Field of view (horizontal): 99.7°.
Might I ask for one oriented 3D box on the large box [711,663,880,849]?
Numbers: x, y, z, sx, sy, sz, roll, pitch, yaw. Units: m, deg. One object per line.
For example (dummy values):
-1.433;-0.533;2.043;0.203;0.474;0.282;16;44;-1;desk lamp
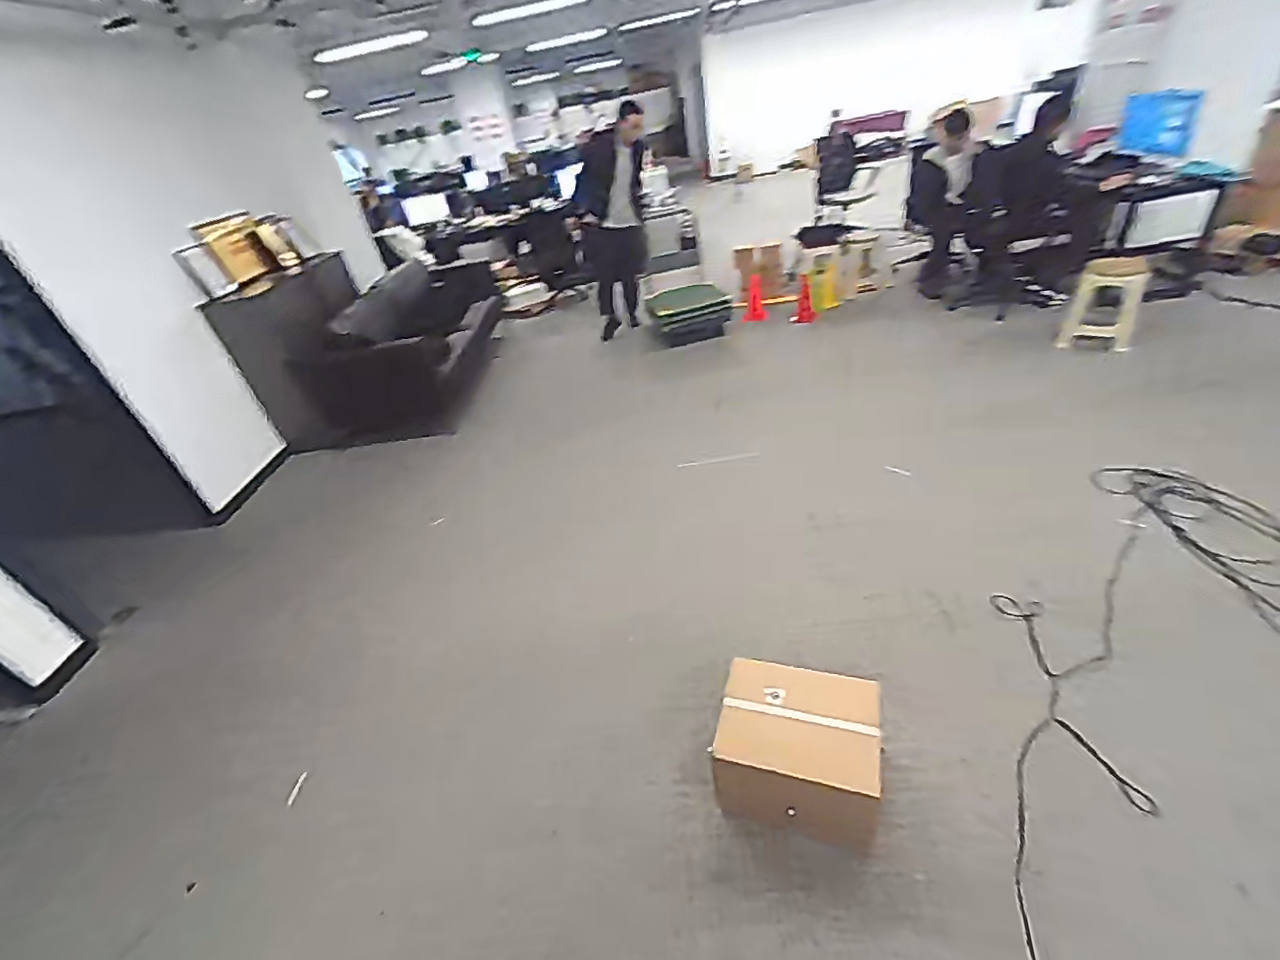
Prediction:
0.442;0.758;1.511;0.408;0.320;0.320;2;36;22;large box
